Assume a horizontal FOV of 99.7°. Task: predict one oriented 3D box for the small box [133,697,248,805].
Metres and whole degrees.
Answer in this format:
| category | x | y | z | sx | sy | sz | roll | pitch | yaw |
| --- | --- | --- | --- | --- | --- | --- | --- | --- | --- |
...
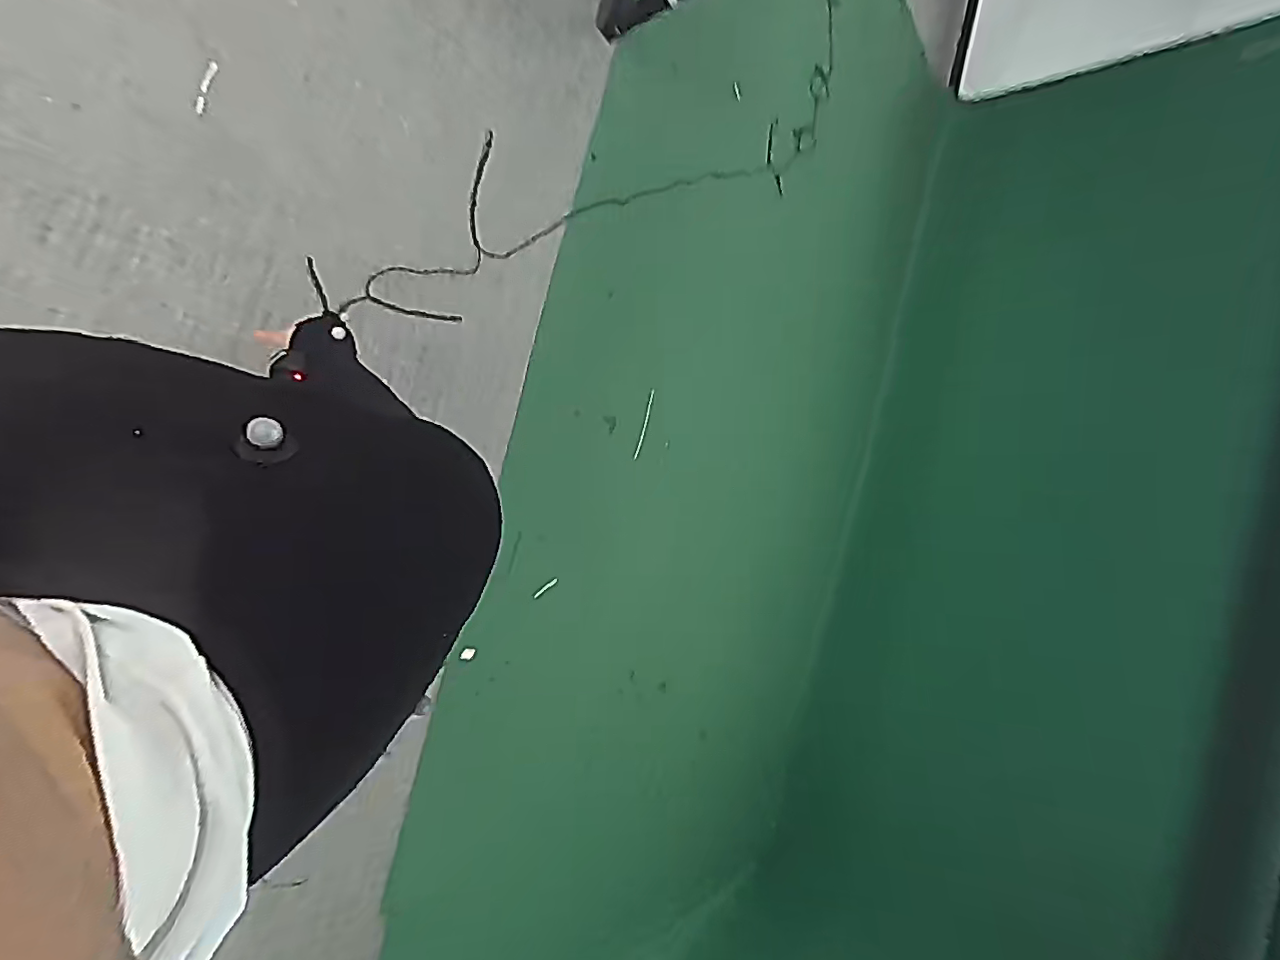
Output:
| category | x | y | z | sx | sy | sz | roll | pitch | yaw |
| --- | --- | --- | --- | --- | --- | --- | --- | --- | --- |
| small box | -1.092 | 0.643 | 1.312 | 0.179 | 0.176 | 0.168 | 15 | 88 | -46 |
